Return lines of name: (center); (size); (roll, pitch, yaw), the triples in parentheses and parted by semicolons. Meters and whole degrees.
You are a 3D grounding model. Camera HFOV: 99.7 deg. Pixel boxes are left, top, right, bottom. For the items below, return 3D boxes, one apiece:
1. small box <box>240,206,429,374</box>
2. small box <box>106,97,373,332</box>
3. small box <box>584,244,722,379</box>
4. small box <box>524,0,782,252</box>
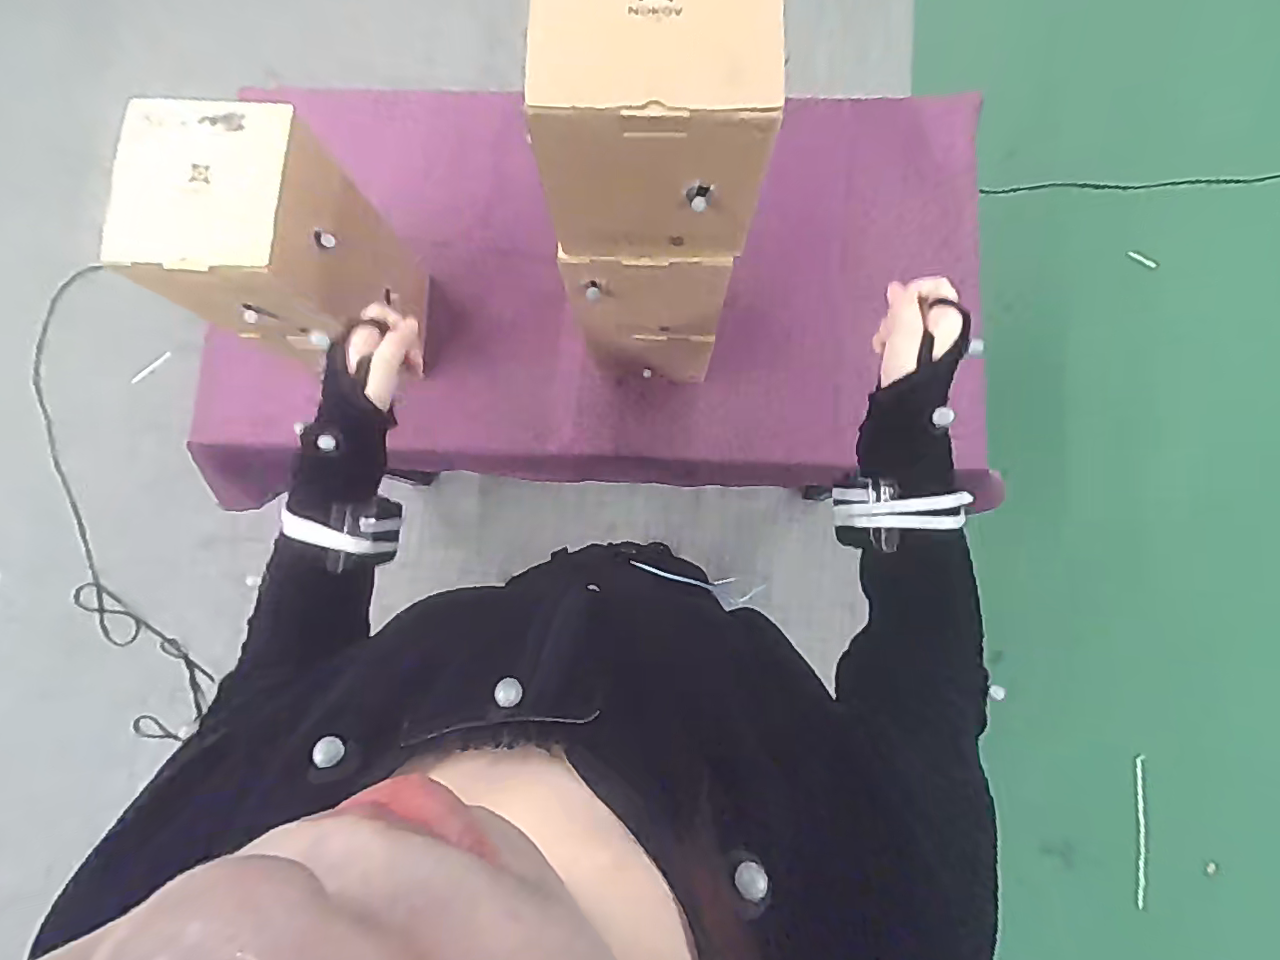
small box: (-0.414, -0.257, 0.763); (0.168, 0.176, 0.179); (1, 82, 1)
small box: (-0.420, -0.277, 0.599); (0.168, 0.176, 0.179); (3, 84, 1)
small box: (0.020, -0.255, 0.753); (0.168, 0.176, 0.179); (4, 84, 2)
small box: (0.012, -0.302, 0.429); (0.168, 0.176, 0.179); (2, 82, 1)
